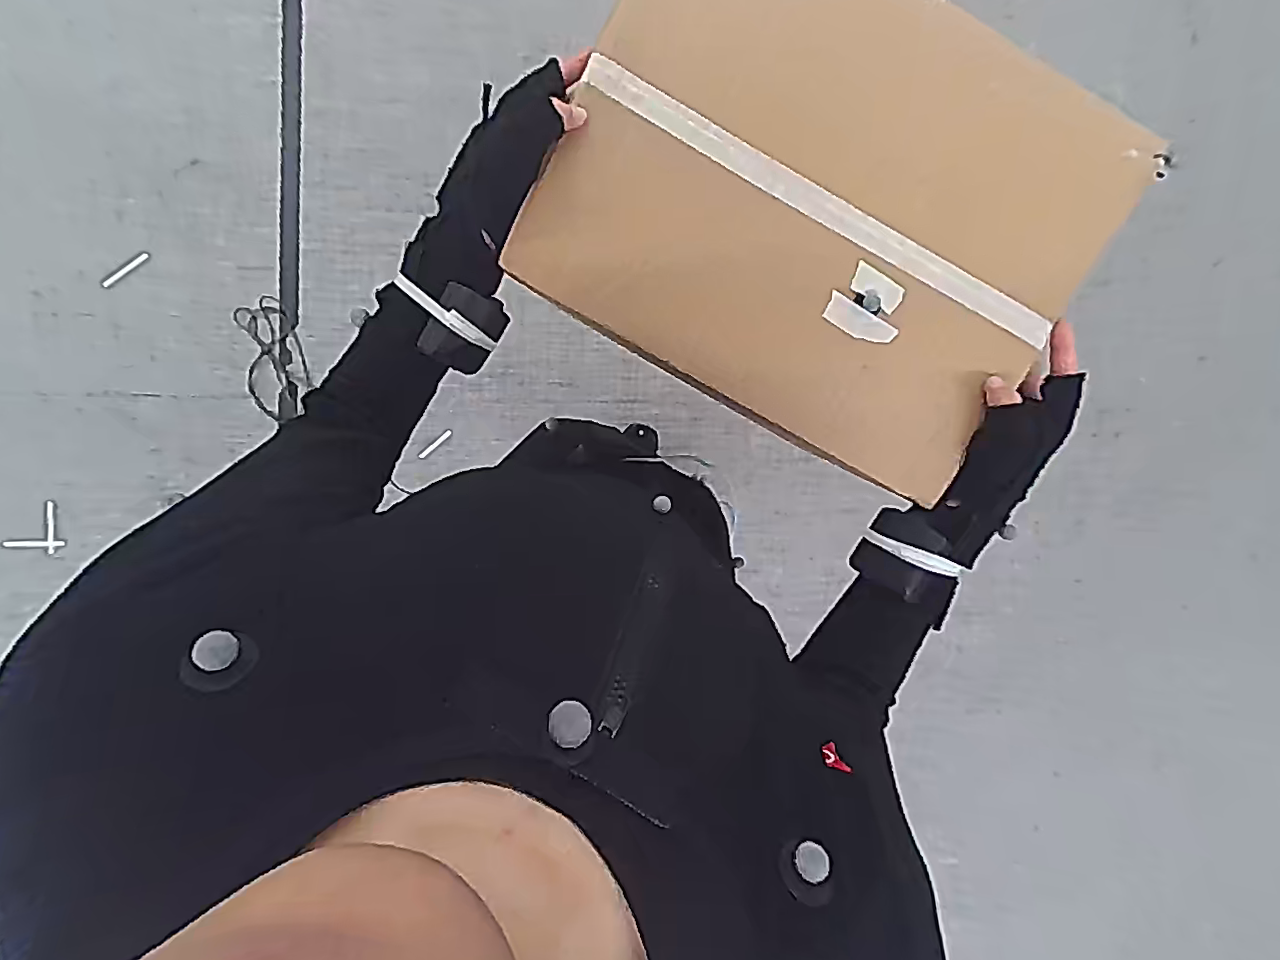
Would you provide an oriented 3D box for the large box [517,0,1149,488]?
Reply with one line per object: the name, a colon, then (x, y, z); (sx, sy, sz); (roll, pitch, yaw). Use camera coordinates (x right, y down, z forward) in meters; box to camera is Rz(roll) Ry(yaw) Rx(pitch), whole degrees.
large box: (0.145, -0.242, 0.568); (0.408, 0.320, 0.320); (29, 101, -5)
